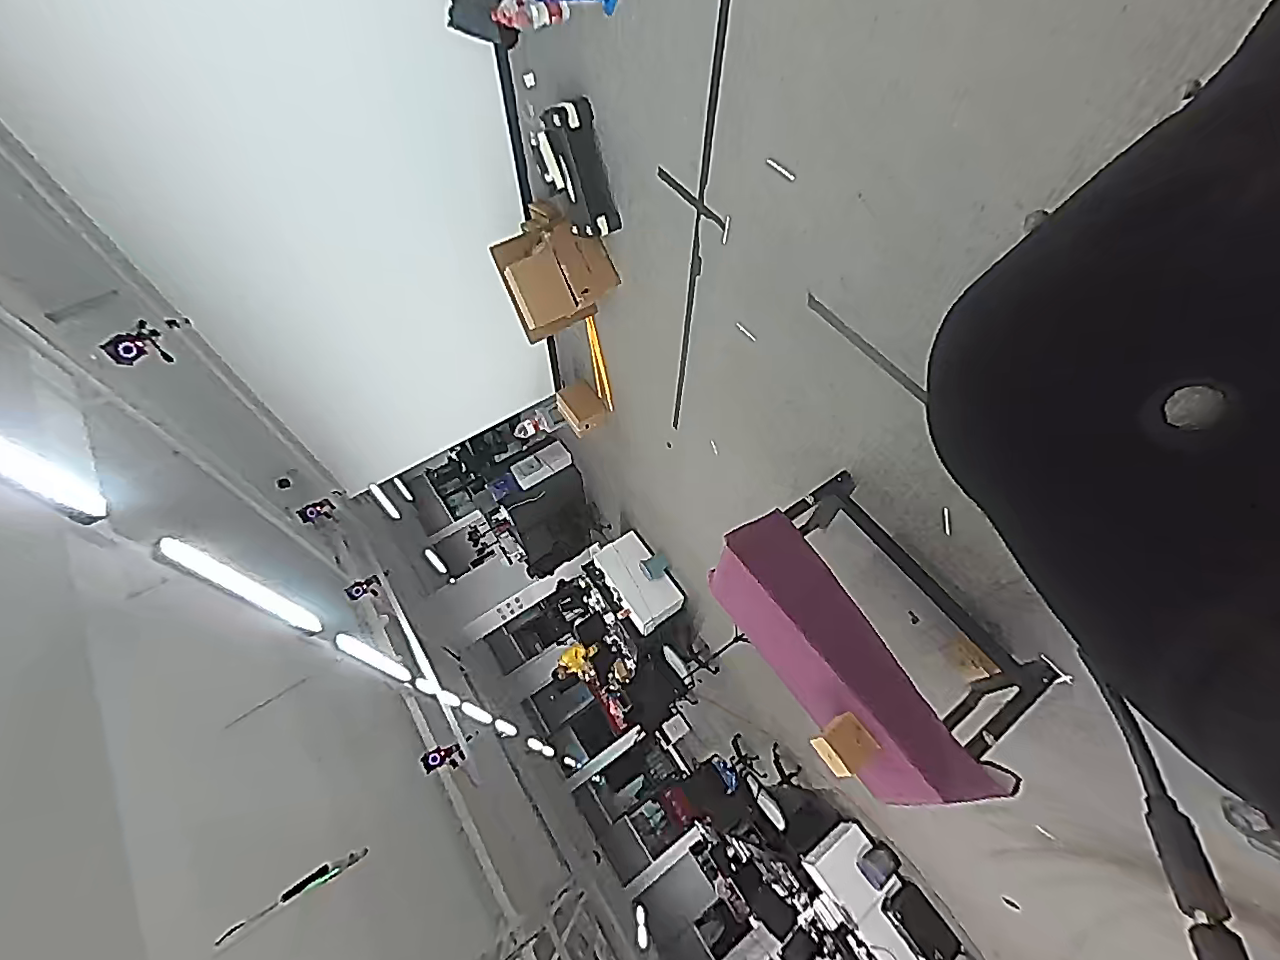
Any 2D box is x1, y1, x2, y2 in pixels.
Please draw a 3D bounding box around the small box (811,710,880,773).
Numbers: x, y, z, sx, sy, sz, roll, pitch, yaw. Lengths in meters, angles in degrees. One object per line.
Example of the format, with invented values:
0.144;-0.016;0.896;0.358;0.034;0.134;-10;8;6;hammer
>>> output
0.833;1.060;2.190;0.168;0.176;0.179;51;160;24;small box
